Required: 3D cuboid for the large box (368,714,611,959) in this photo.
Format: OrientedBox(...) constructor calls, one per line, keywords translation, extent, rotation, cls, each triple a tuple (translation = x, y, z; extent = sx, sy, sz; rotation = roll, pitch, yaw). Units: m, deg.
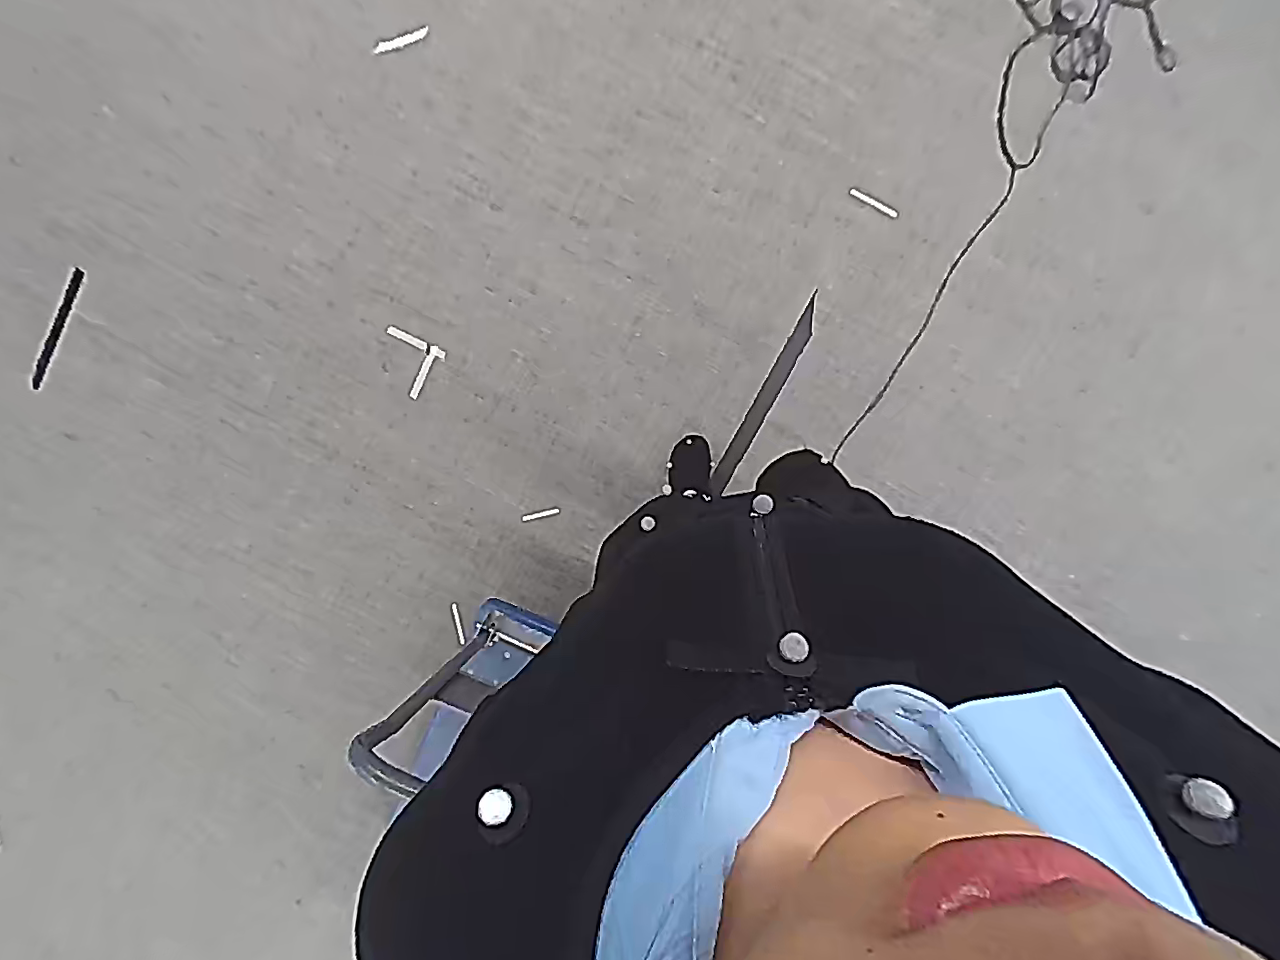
OrientedBox(translation=(-0.314, 0.817, 1.244), extent=(0.408, 0.320, 0.320), rotation=(25, 94, -1), cls="large box")
